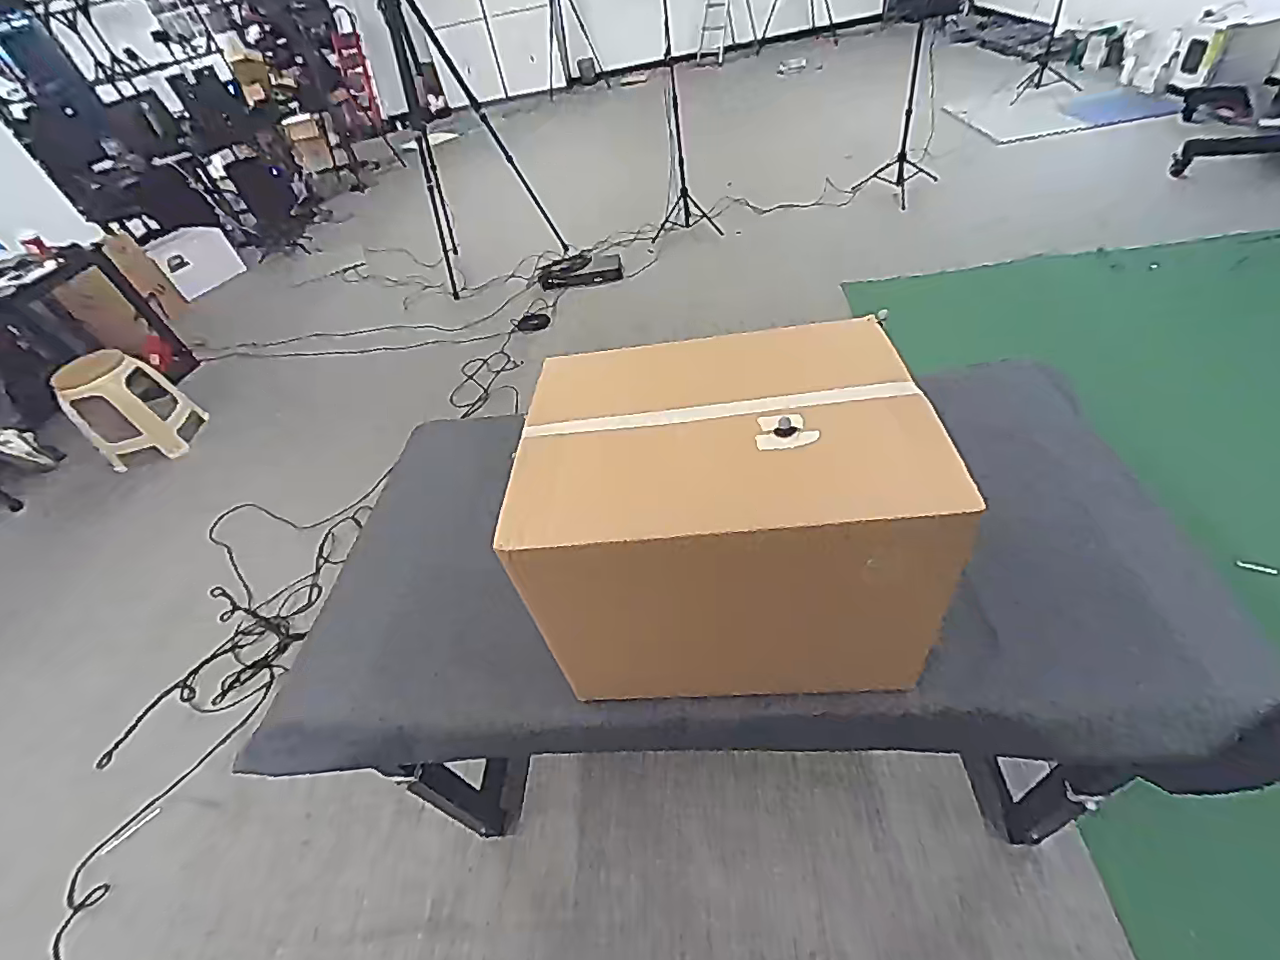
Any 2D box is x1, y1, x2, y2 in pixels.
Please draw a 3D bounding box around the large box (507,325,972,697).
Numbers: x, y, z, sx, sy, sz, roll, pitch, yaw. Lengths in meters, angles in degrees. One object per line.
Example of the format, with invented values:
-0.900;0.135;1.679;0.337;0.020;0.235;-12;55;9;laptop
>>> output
0.099;0.044;0.665;0.408;0.320;0.320;-5;44;7;large box
